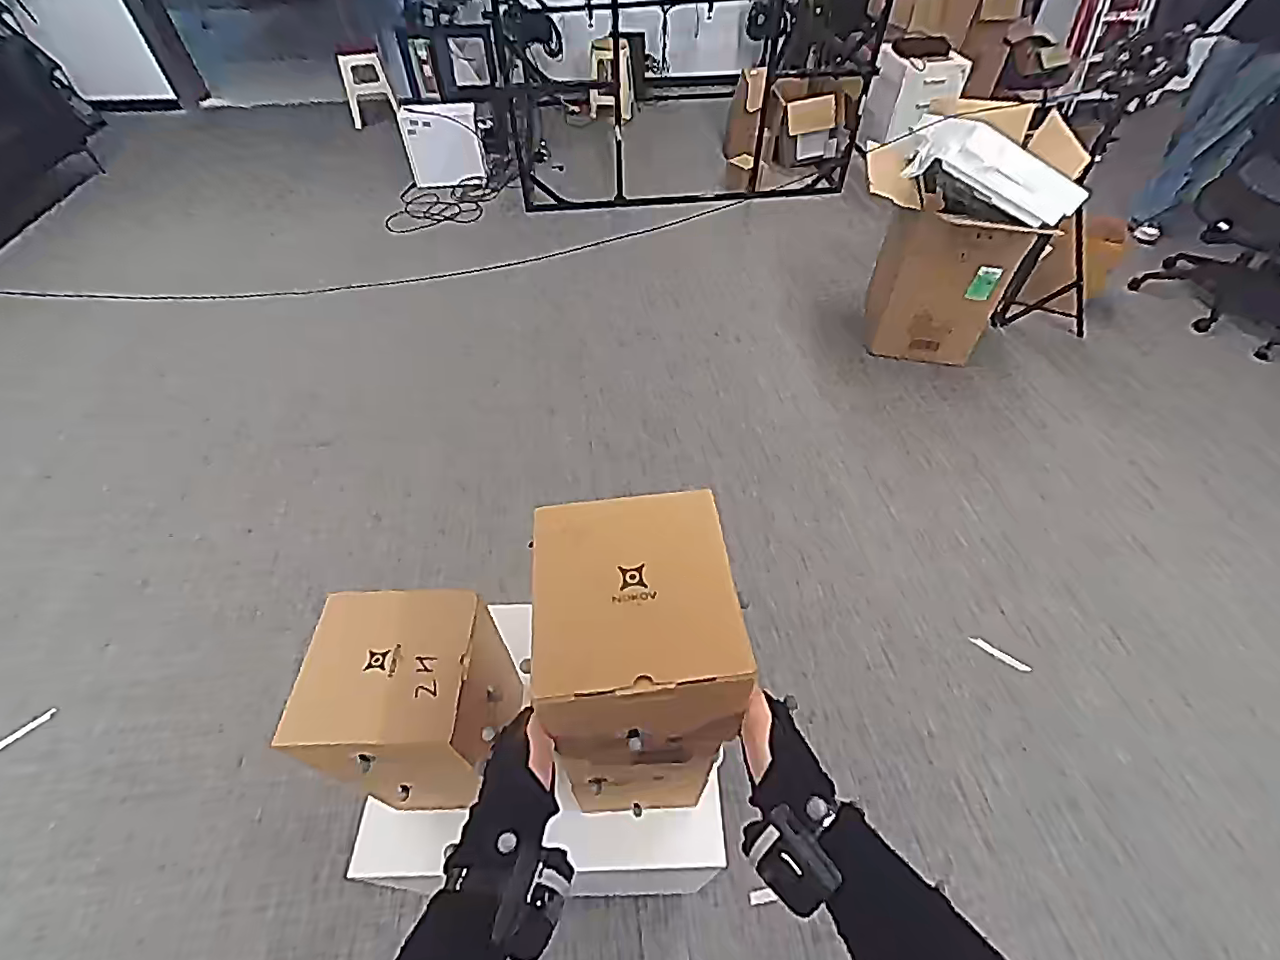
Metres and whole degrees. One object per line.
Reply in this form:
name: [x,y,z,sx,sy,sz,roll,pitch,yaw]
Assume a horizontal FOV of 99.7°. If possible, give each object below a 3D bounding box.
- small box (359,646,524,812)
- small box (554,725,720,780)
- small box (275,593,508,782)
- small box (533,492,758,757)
small box: [-0.265,0.349,0.760,0.168,0.176,0.179,-1,49,0]
small box: [-0.003,0.241,0.634,0.168,0.176,0.179,-2,49,-2]
small box: [-0.266,0.245,0.631,0.179,0.176,0.168,-1,51,0]
small box: [-0.003,0.135,0.501,0.168,0.176,0.179,-6,52,-3]
